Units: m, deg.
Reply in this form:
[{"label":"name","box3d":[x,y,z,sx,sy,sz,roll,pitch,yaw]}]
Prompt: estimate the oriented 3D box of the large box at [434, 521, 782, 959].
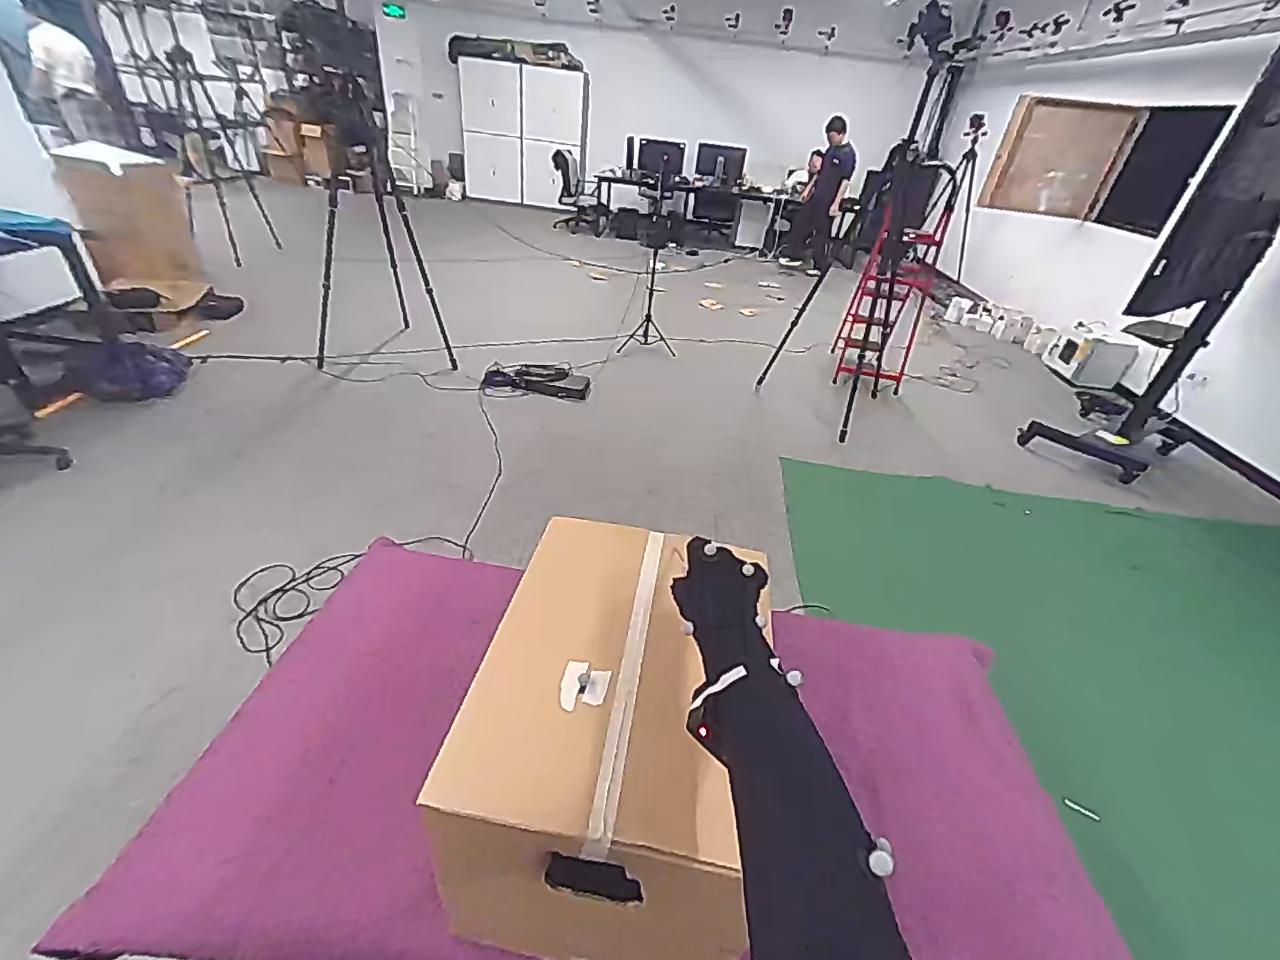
[{"label":"large box","box3d":[-0.023,0.317,0.703,0.320,0.320,0.408,10,35,4]}]
